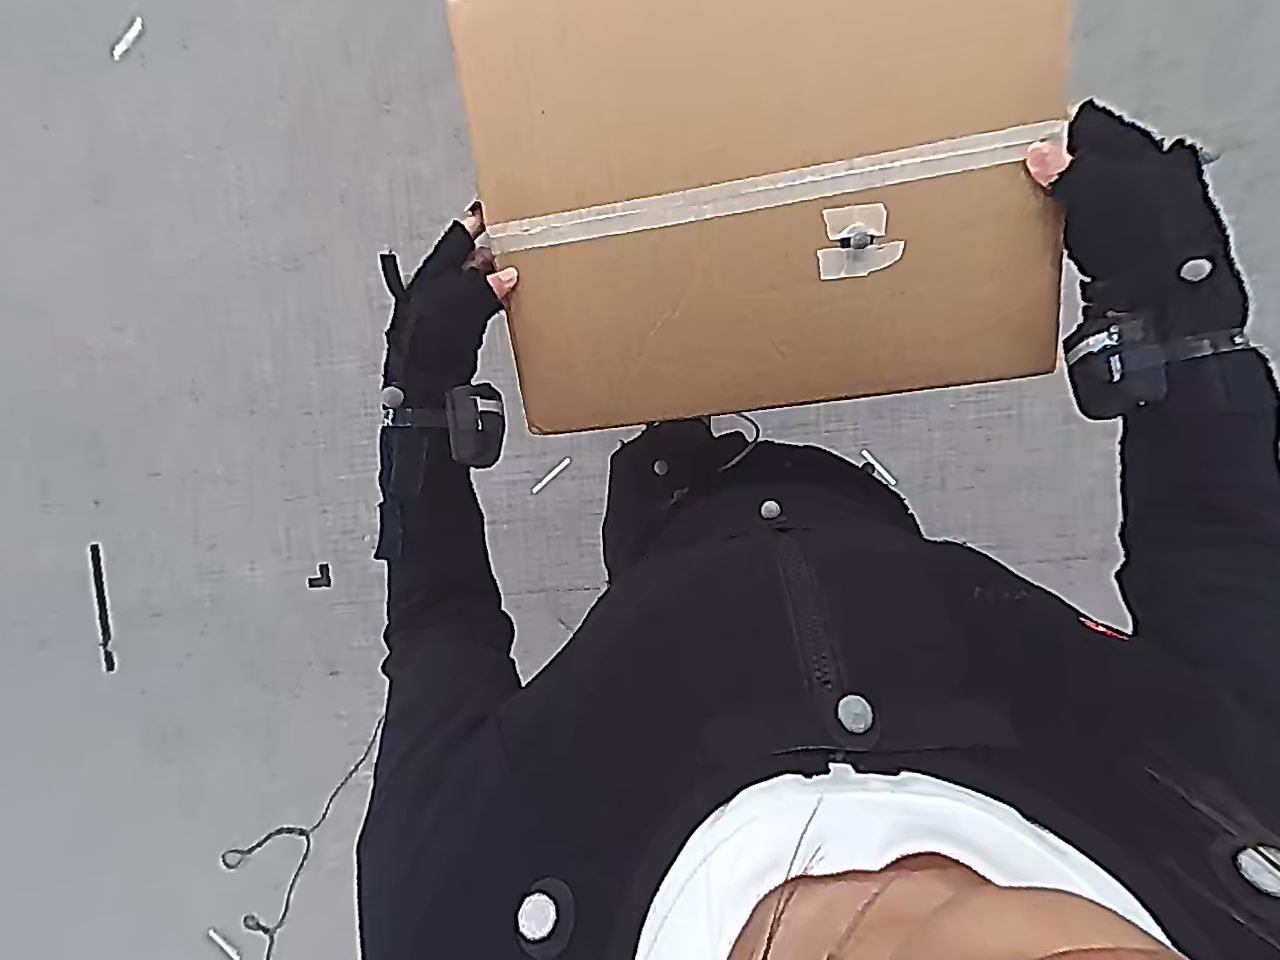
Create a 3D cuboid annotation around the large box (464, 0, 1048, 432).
[{"bbox_3d":[0.100,-0.249,0.547,0.408,0.320,0.320,-7,104,7],"label":"large box"}]
